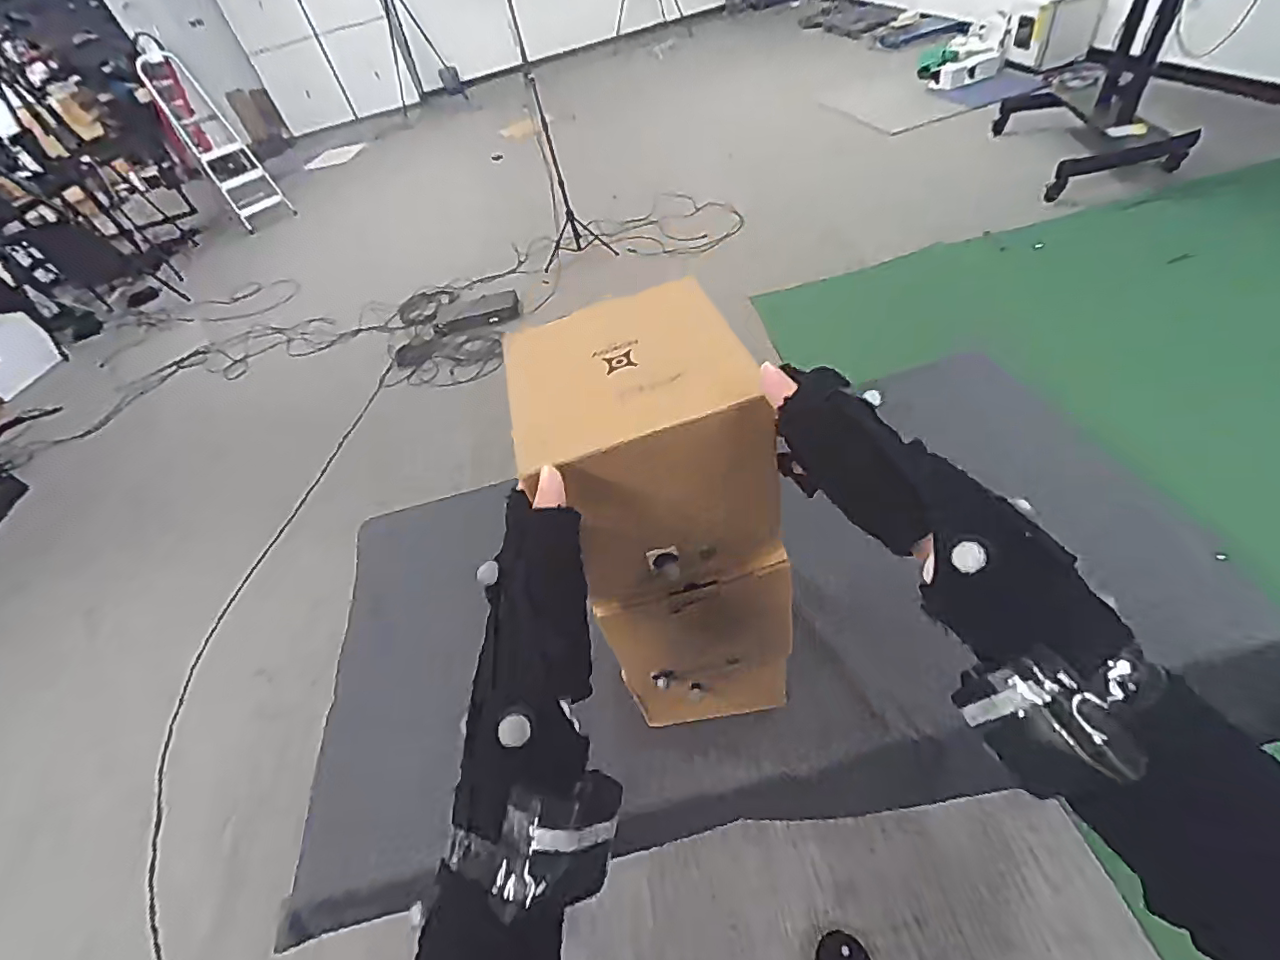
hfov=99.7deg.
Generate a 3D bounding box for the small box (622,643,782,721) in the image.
[{"bbox_3d":[0.074,0.186,0.690,0.179,0.176,0.168,-13,44,3],"label":"small box"}]

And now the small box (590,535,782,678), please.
[{"bbox_3d":[0.040,0.085,0.561,0.168,0.176,0.179,-18,47,0],"label":"small box"}]

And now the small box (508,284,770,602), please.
[{"bbox_3d":[-0.001,-0.030,0.452,0.168,0.176,0.179,-18,45,0],"label":"small box"}]
